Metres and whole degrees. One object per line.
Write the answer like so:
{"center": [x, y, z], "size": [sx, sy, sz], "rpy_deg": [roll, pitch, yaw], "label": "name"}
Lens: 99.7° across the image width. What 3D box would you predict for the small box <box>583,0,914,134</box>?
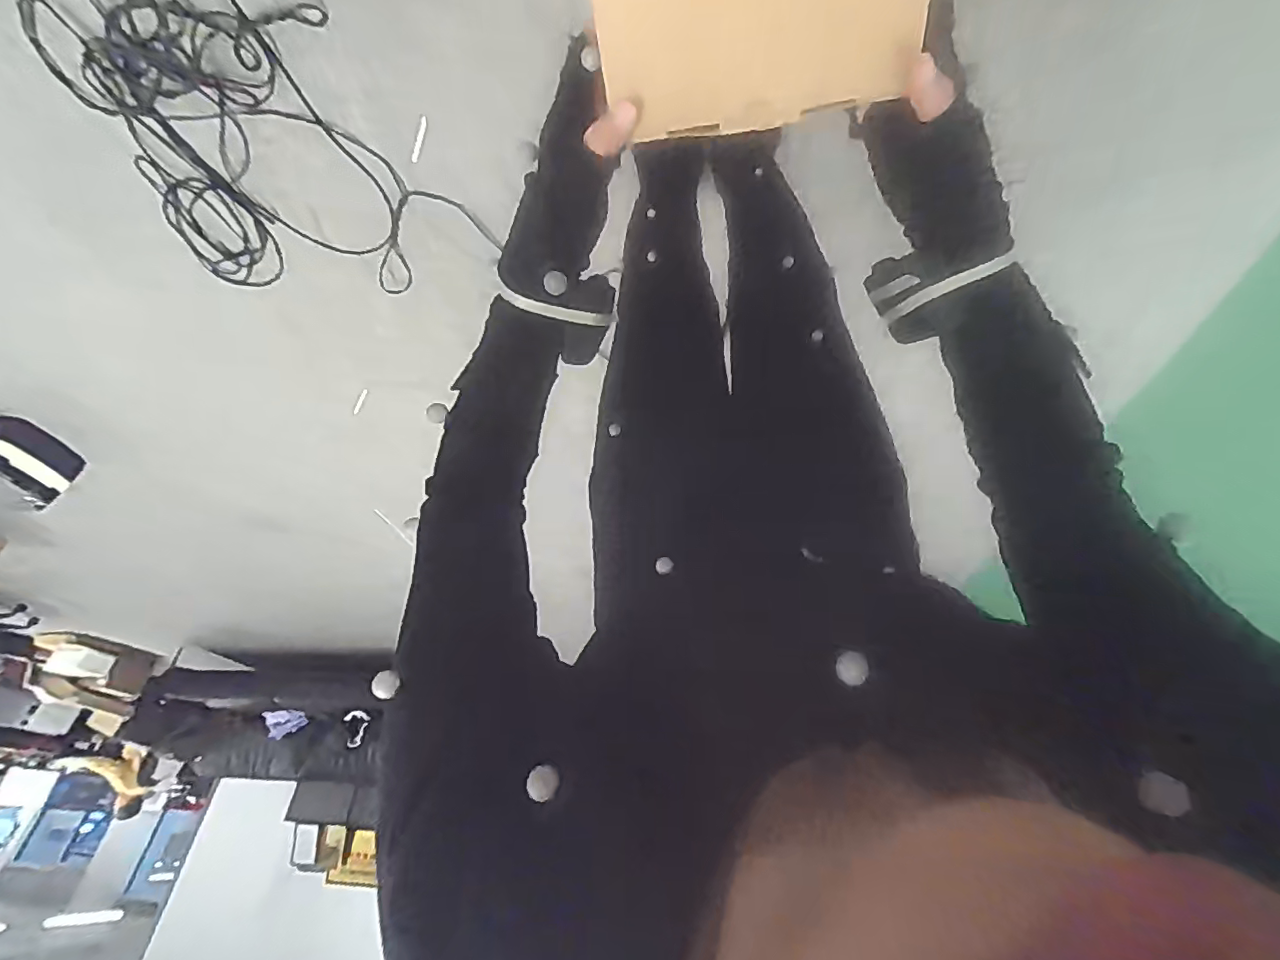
{"center": [0.050, -0.322, 0.301], "size": [0.168, 0.176, 0.179], "rpy_deg": [-5, 133, 9], "label": "small box"}
